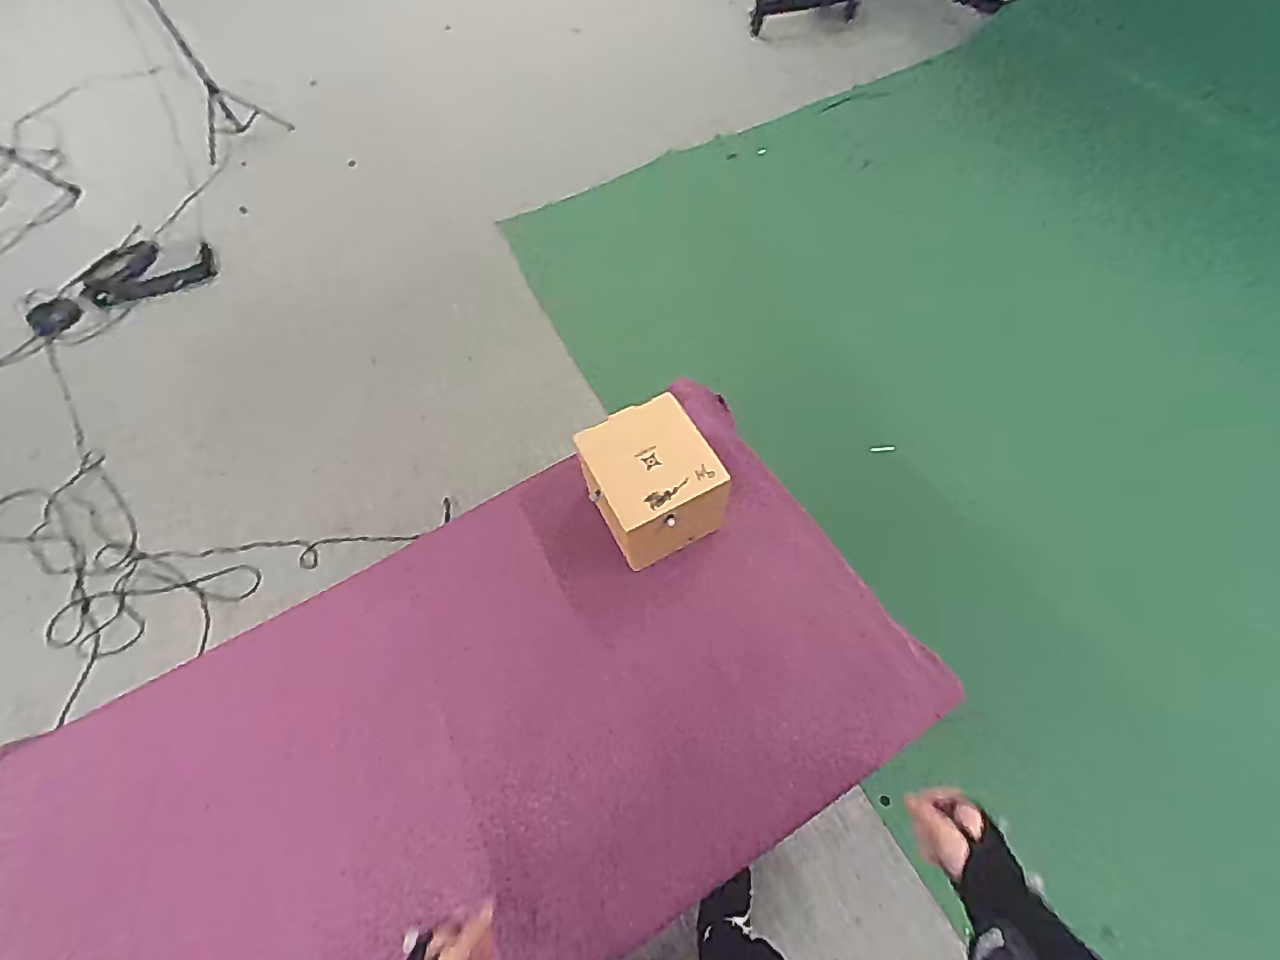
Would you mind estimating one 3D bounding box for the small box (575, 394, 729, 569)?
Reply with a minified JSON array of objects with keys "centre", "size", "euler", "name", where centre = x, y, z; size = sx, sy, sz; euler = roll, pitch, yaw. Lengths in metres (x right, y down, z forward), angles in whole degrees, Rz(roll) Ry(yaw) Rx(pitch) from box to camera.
[{"centre":[0.017,0.007,0.831],"size":[0.168,0.176,0.179],"euler":[-27,63,-10],"name":"small box"}]
